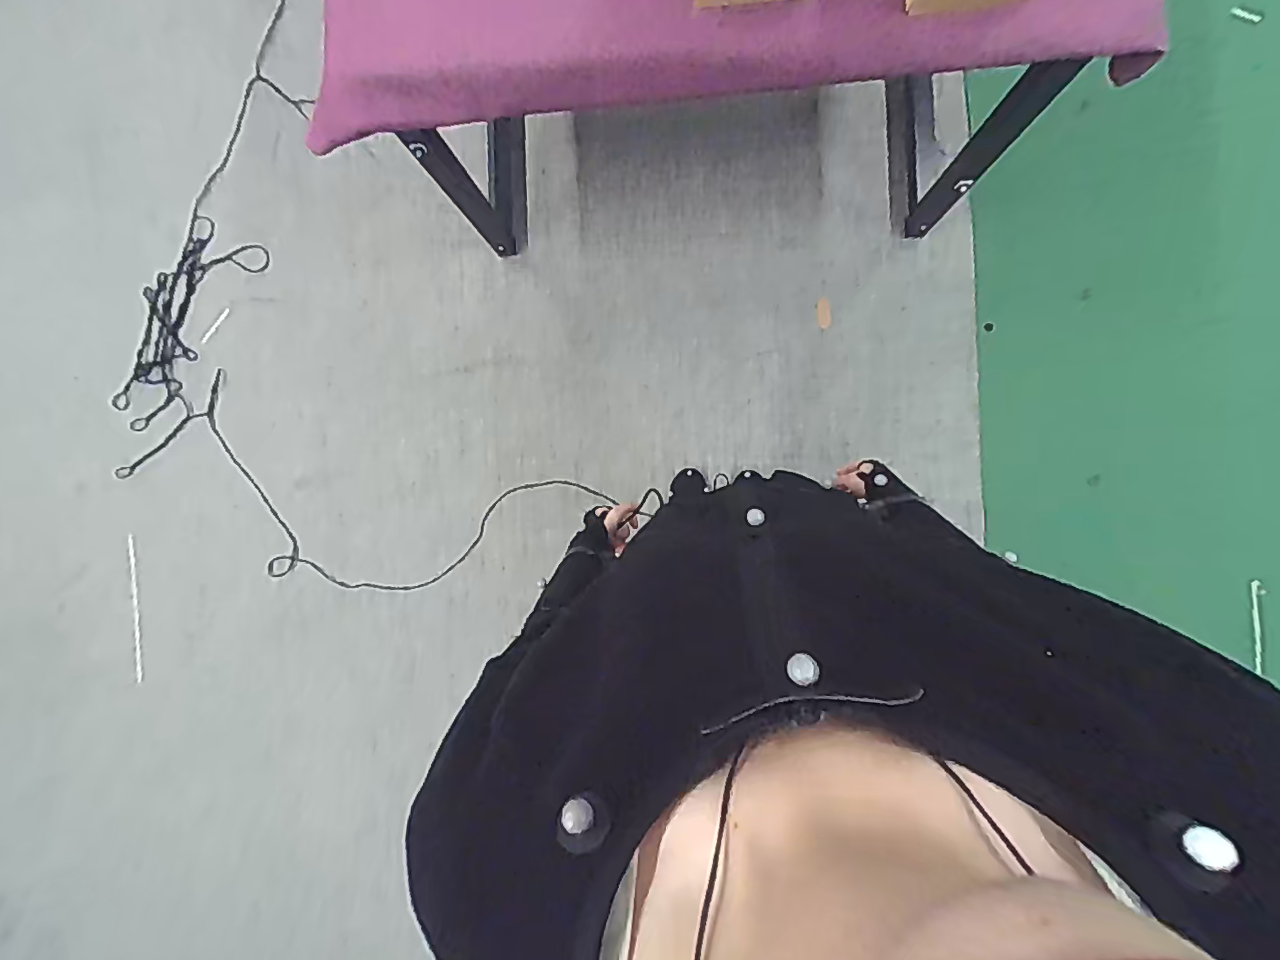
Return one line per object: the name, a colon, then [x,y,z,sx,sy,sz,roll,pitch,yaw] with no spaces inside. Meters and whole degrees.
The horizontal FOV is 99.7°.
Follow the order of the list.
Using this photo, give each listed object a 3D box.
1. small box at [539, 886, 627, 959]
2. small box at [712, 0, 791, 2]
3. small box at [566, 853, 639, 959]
small box: [-0.124,1.082,1.244,0.168,0.176,0.179,-5,89,5]
small box: [0.160,-0.777,0.709,0.168,0.176,0.179,0,88,5]
small box: [-0.099,1.108,1.406,0.179,0.176,0.168,-10,88,5]
